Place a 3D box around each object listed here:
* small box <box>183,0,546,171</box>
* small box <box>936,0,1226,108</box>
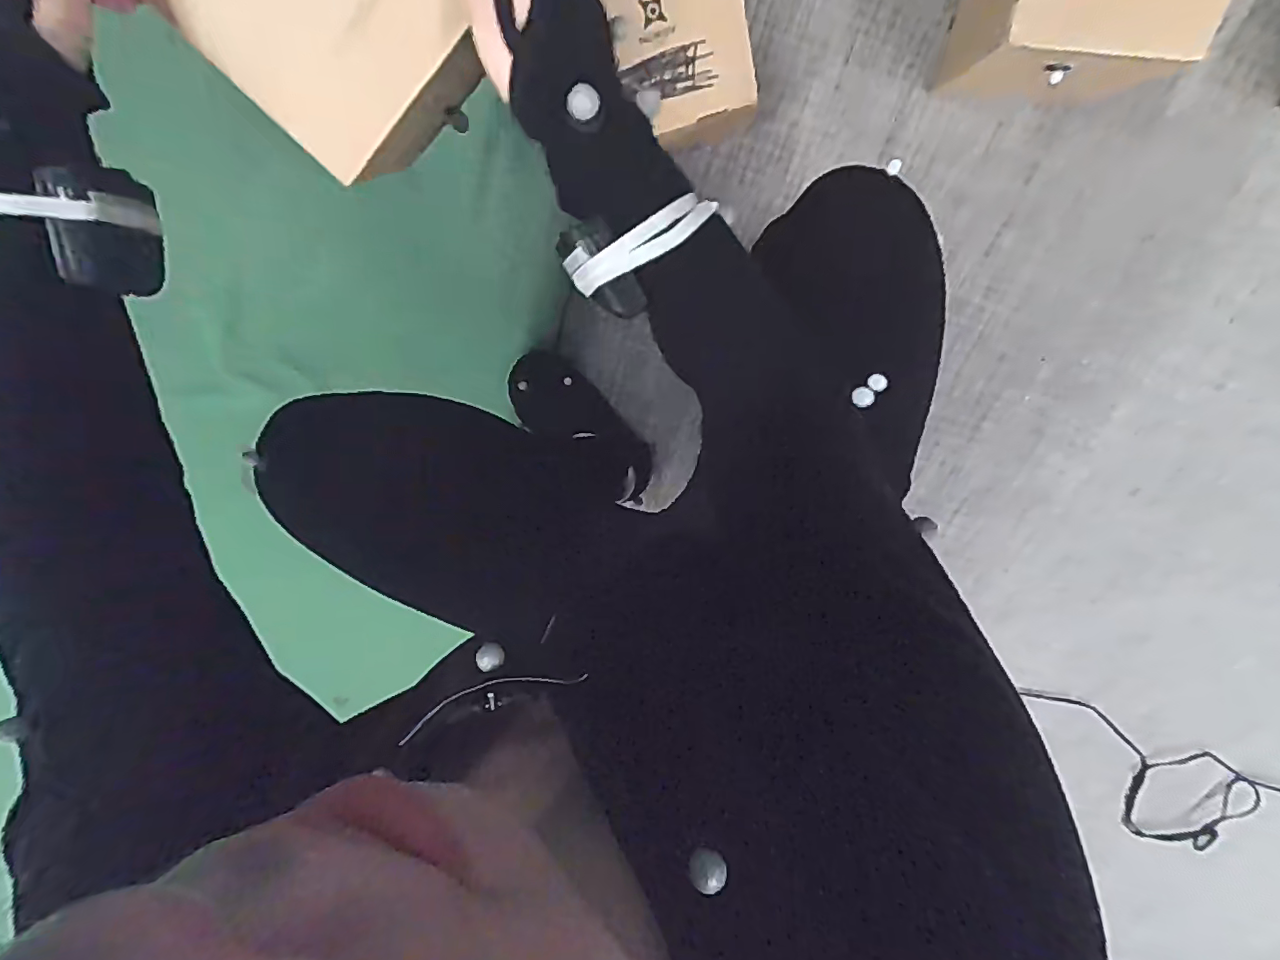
[{"bbox_3d":[-0.183,-0.341,0.360,0.168,0.176,0.179,-37,119,19],"label":"small box"},{"bbox_3d":[0.424,-0.482,0.525,0.179,0.176,0.168,6,114,2],"label":"small box"}]
